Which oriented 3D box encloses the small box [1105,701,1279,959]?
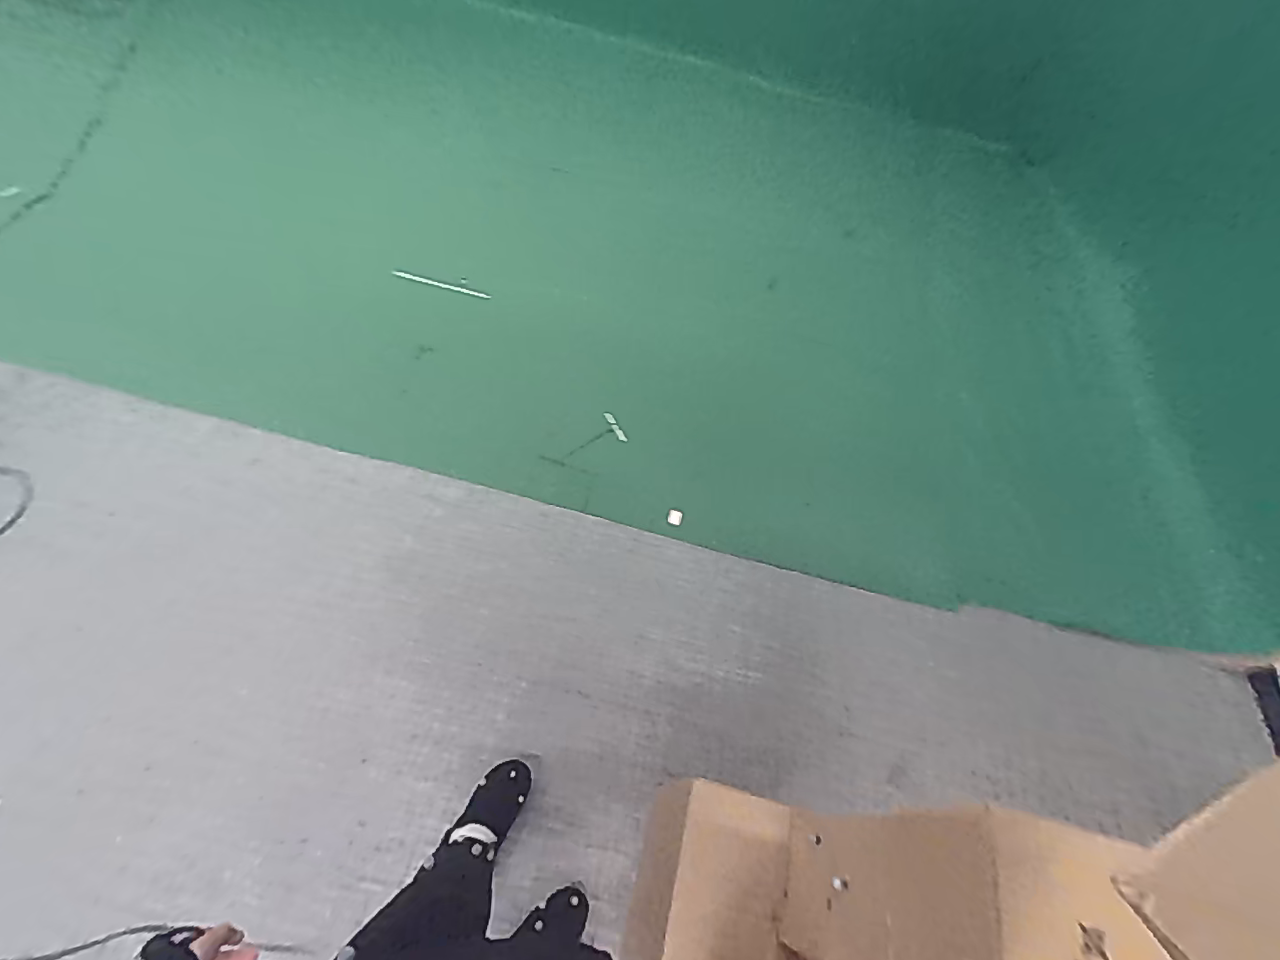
[{"bbox_3d":[0.321,0.194,0.172,0.168,0.179,0.176,-39,96,5],"label":"small box"}]
